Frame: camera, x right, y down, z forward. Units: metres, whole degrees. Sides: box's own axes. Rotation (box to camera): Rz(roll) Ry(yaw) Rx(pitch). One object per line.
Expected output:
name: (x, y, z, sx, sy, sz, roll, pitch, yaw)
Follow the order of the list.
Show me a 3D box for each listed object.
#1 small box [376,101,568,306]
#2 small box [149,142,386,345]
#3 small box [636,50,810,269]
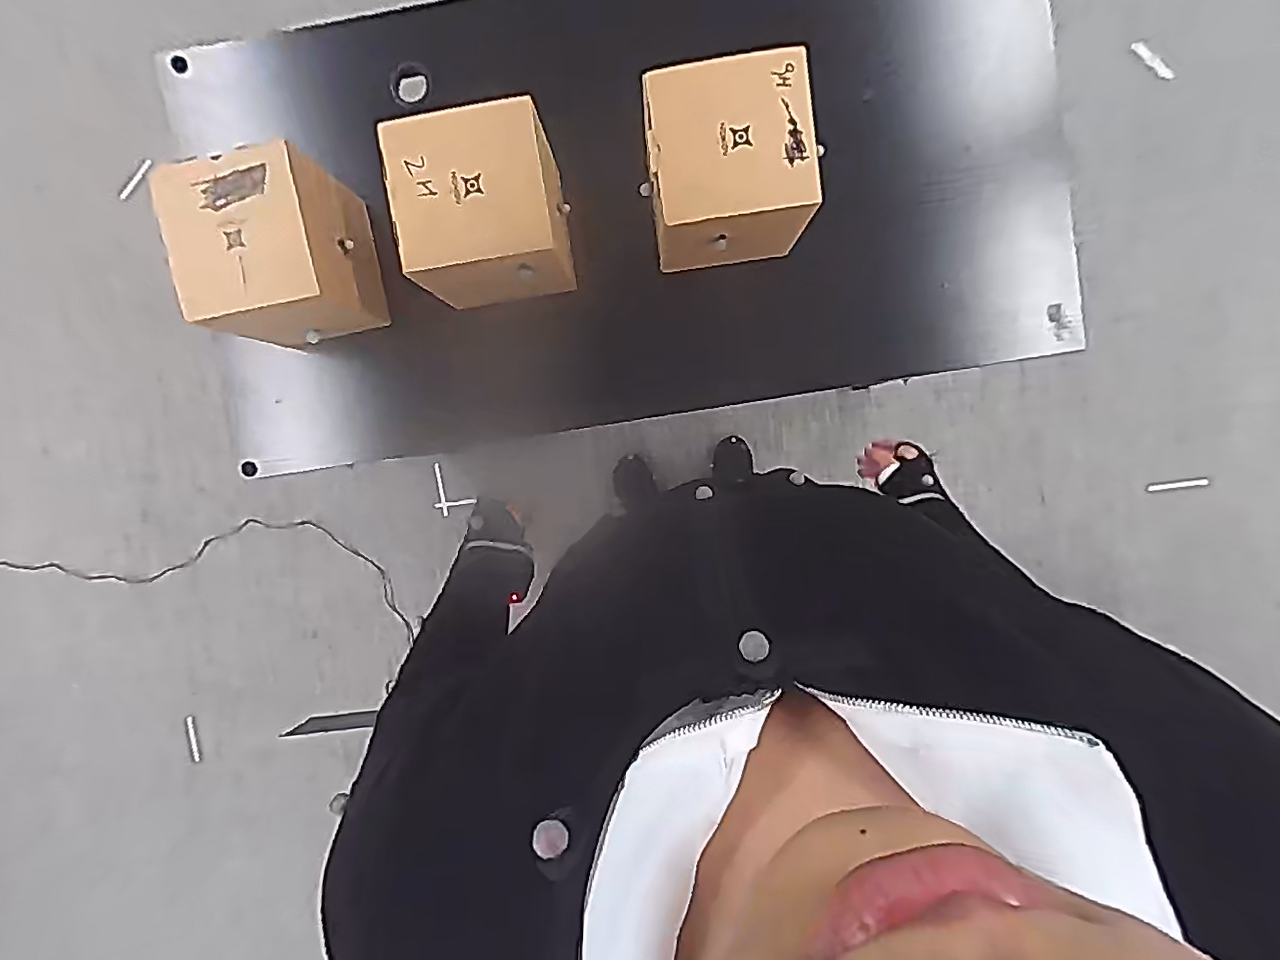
small box: (-0.193, -0.330, 0.679, 0.179, 0.176, 0.168, -9, 94, 3)
small box: (-0.456, -0.286, 0.692, 0.168, 0.176, 0.179, -11, 95, 3)
small box: (0.095, -0.374, 0.667, 0.179, 0.176, 0.168, -7, 94, 3)
